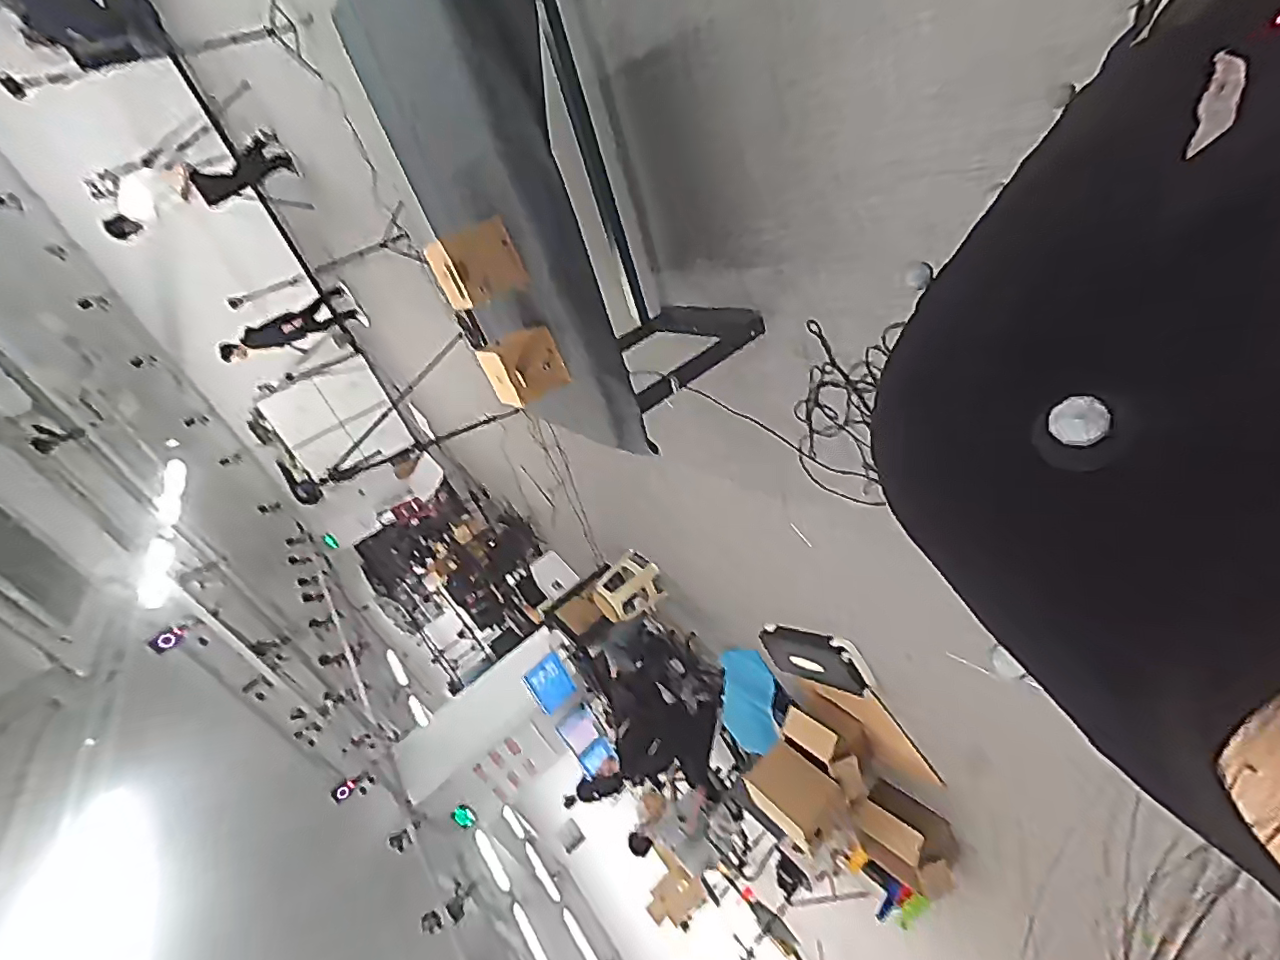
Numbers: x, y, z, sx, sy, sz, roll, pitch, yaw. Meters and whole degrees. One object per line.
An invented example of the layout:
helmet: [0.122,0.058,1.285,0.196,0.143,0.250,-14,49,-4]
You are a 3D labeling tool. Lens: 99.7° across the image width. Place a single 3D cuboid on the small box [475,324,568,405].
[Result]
small box: [-0.333,-0.332,1.535,0.179,0.176,0.168,19,138,52]
